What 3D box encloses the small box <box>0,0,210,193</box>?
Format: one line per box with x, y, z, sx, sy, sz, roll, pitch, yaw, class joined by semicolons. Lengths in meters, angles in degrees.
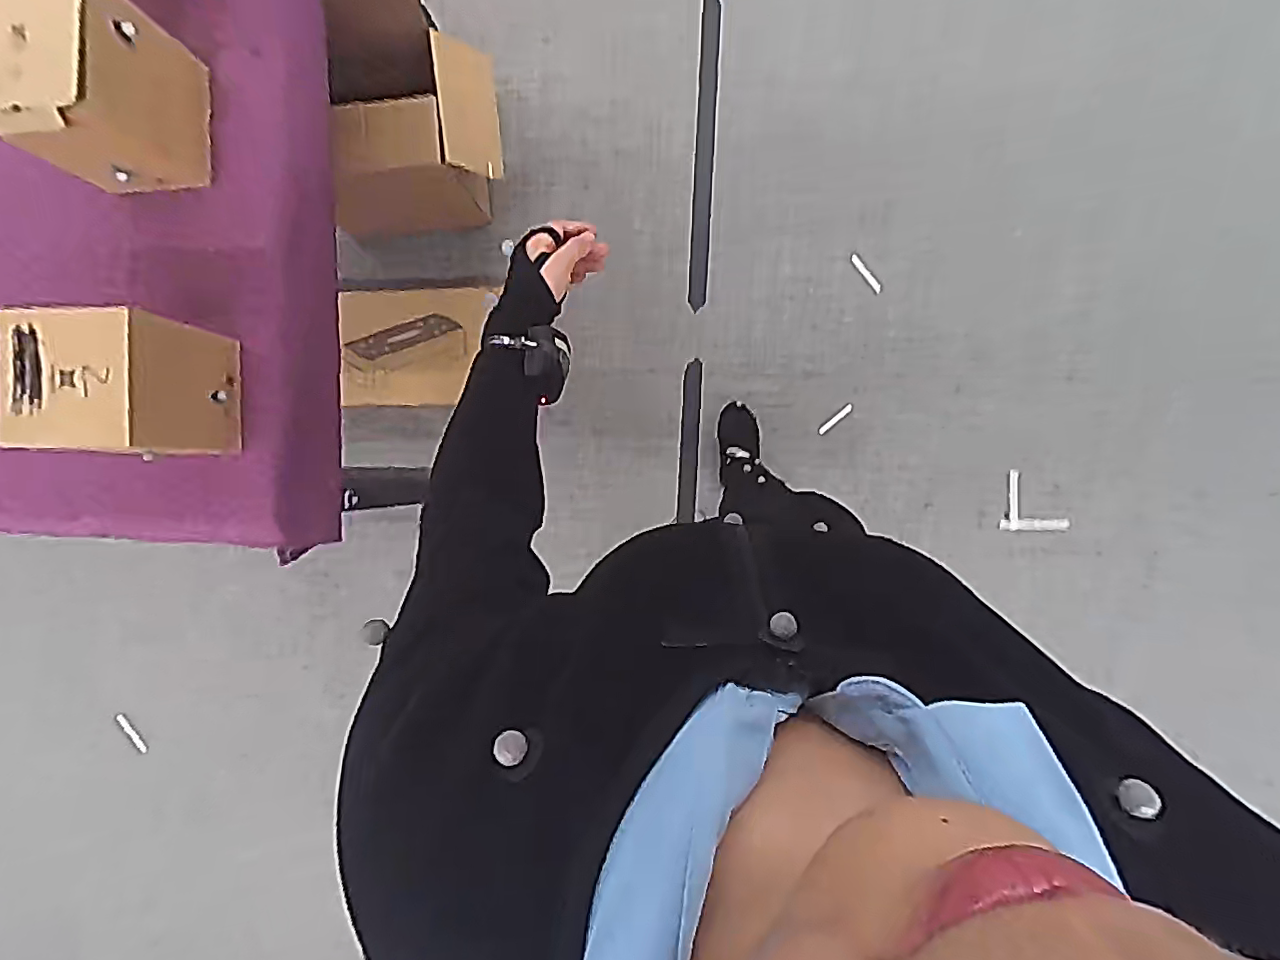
-0.711;-0.511;0.712;0.168;0.176;0.179;0;91;6;small box
